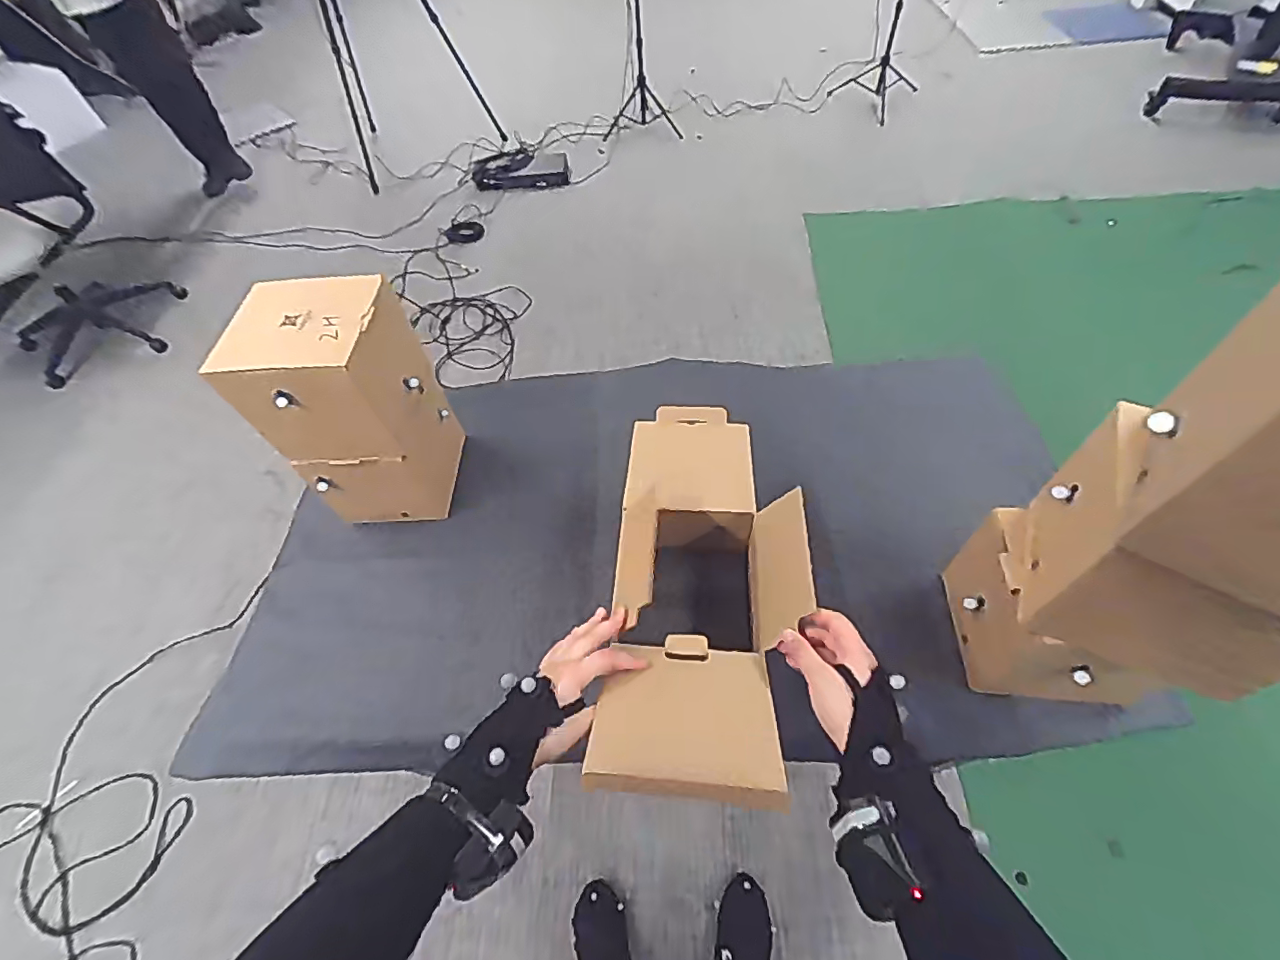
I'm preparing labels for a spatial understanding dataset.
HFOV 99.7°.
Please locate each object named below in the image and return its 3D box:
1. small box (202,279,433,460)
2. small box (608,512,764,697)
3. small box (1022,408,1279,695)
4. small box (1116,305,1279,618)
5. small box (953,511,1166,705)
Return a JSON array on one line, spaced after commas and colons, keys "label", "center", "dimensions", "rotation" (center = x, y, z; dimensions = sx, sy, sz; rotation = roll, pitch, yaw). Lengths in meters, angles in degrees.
[{"label": "small box", "center": [-0.402, -0.139, 0.712], "dimensions": [0.179, 0.176, 0.168], "rotation": [-2, 57, 3]}, {"label": "small box", "center": [0.057, 0.158, 0.671], "dimensions": [0.168, 0.176, 0.179], "rotation": [2, 54, 4]}, {"label": "small box", "center": [0.483, 0.068, 0.490], "dimensions": [0.179, 0.176, 0.168], "rotation": [20, 57, 19]}, {"label": "small box", "center": [0.469, -0.011, 0.344], "dimensions": [0.179, 0.176, 0.168], "rotation": [29, 60, 24]}, {"label": "small box", "center": [0.493, 0.152, 0.630], "dimensions": [0.179, 0.176, 0.168], "rotation": [2, 53, 7]}]
